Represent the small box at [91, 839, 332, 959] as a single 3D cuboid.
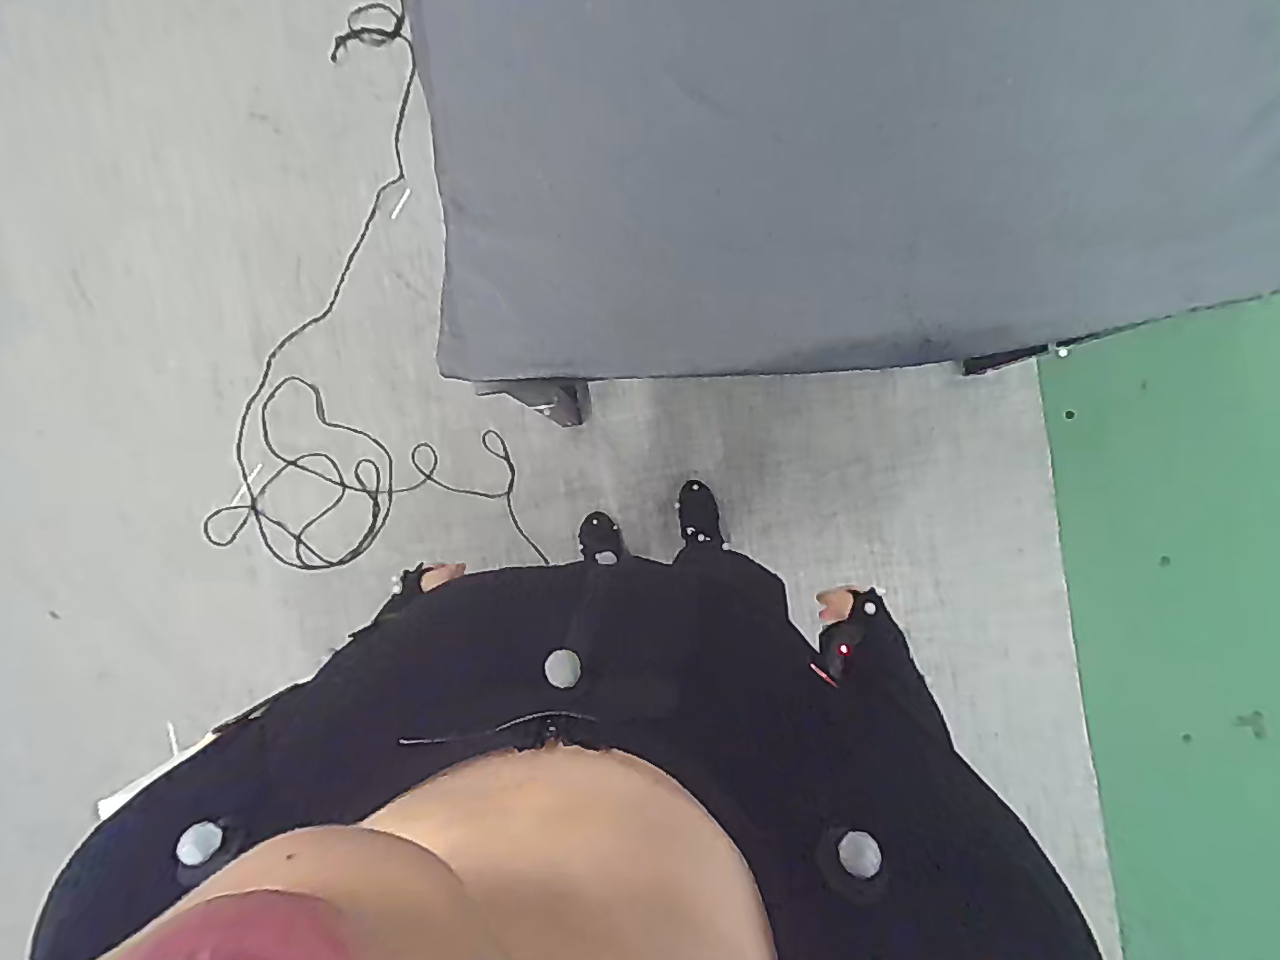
[{"bbox_3d":[-0.510,0.563,0.621,0.179,0.176,0.168,40,93,-3],"label":"small box"}]
